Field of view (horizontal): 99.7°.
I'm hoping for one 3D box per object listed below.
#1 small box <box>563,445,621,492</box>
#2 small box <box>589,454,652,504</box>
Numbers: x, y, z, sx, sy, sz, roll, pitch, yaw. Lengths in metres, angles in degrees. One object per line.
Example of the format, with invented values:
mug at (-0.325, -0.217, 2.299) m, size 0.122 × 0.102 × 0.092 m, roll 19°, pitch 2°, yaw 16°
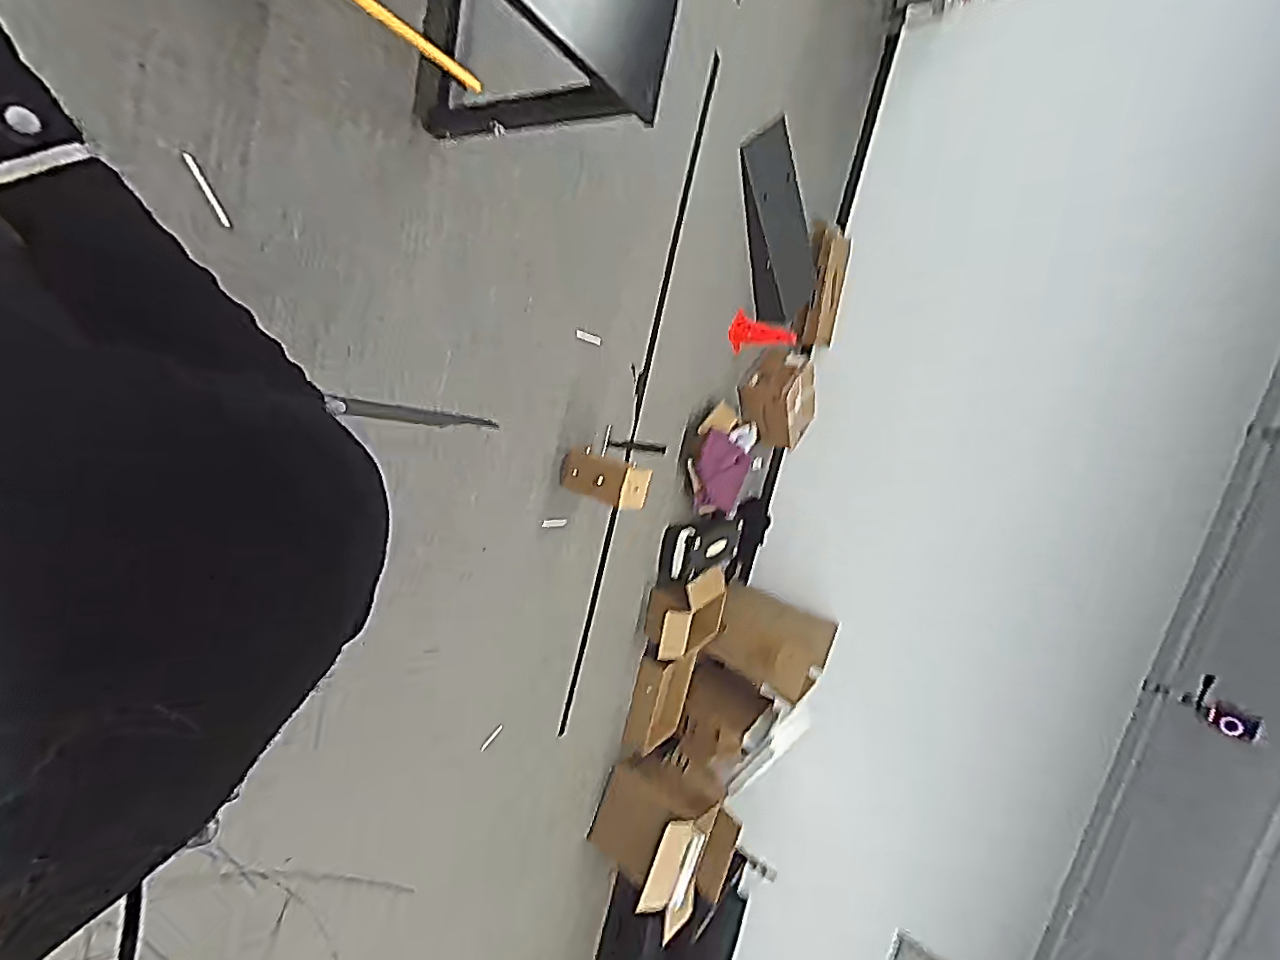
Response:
small box at (-0.207, -0.049, 2.319) m, size 0.179 × 0.176 × 0.168 m, roll 1°, pitch 106°, yaw -55°
small box at (-0.080, -0.005, 2.222) m, size 0.179 × 0.176 × 0.168 m, roll 3°, pitch 103°, yaw -55°
